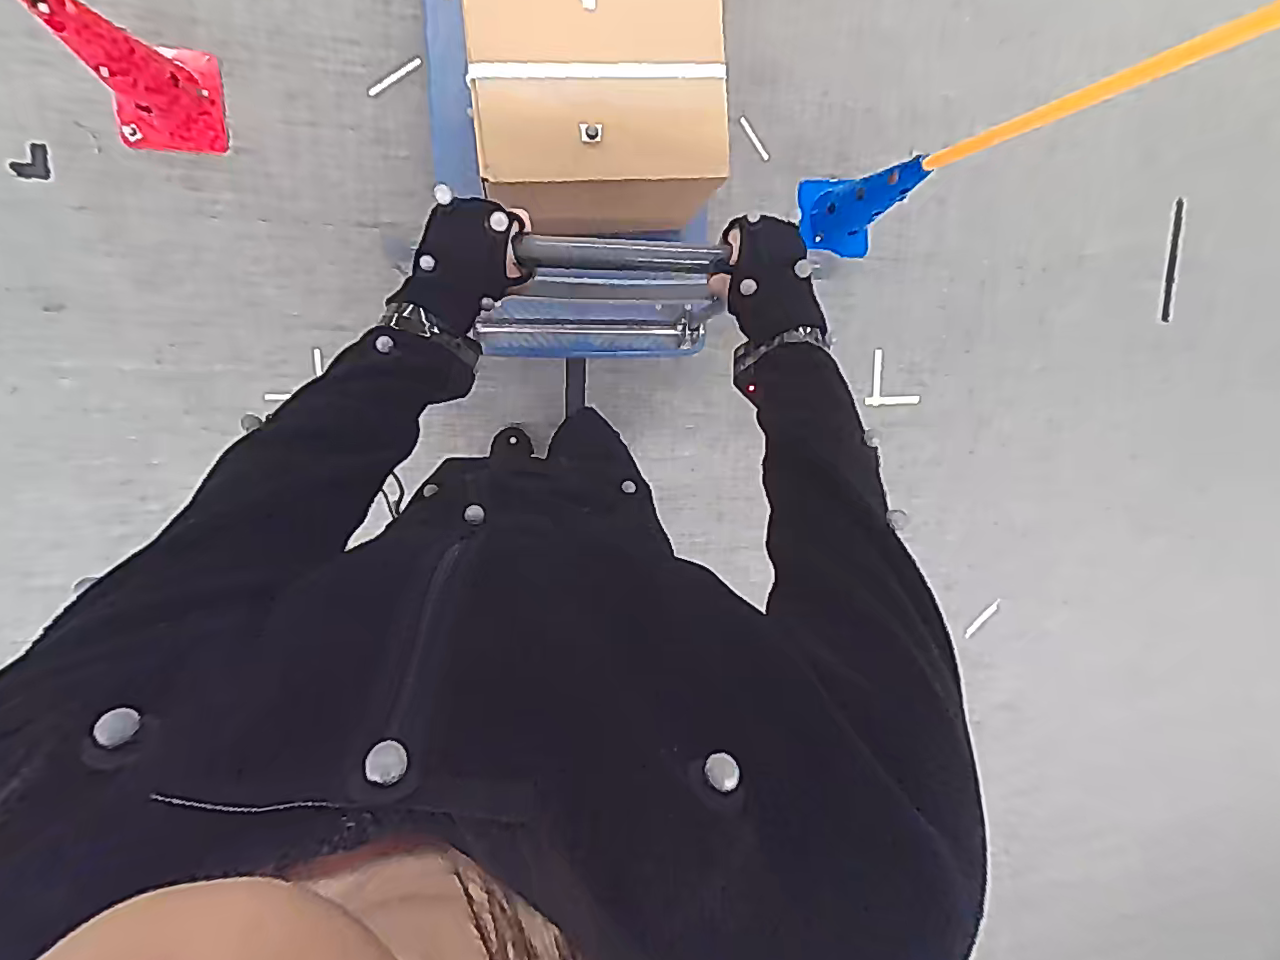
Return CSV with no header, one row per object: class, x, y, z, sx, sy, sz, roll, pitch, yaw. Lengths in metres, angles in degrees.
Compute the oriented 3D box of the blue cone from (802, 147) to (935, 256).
blue cone,0.557,-0.679,1.290,0.193,0.380,0.192,-4,98,-11
